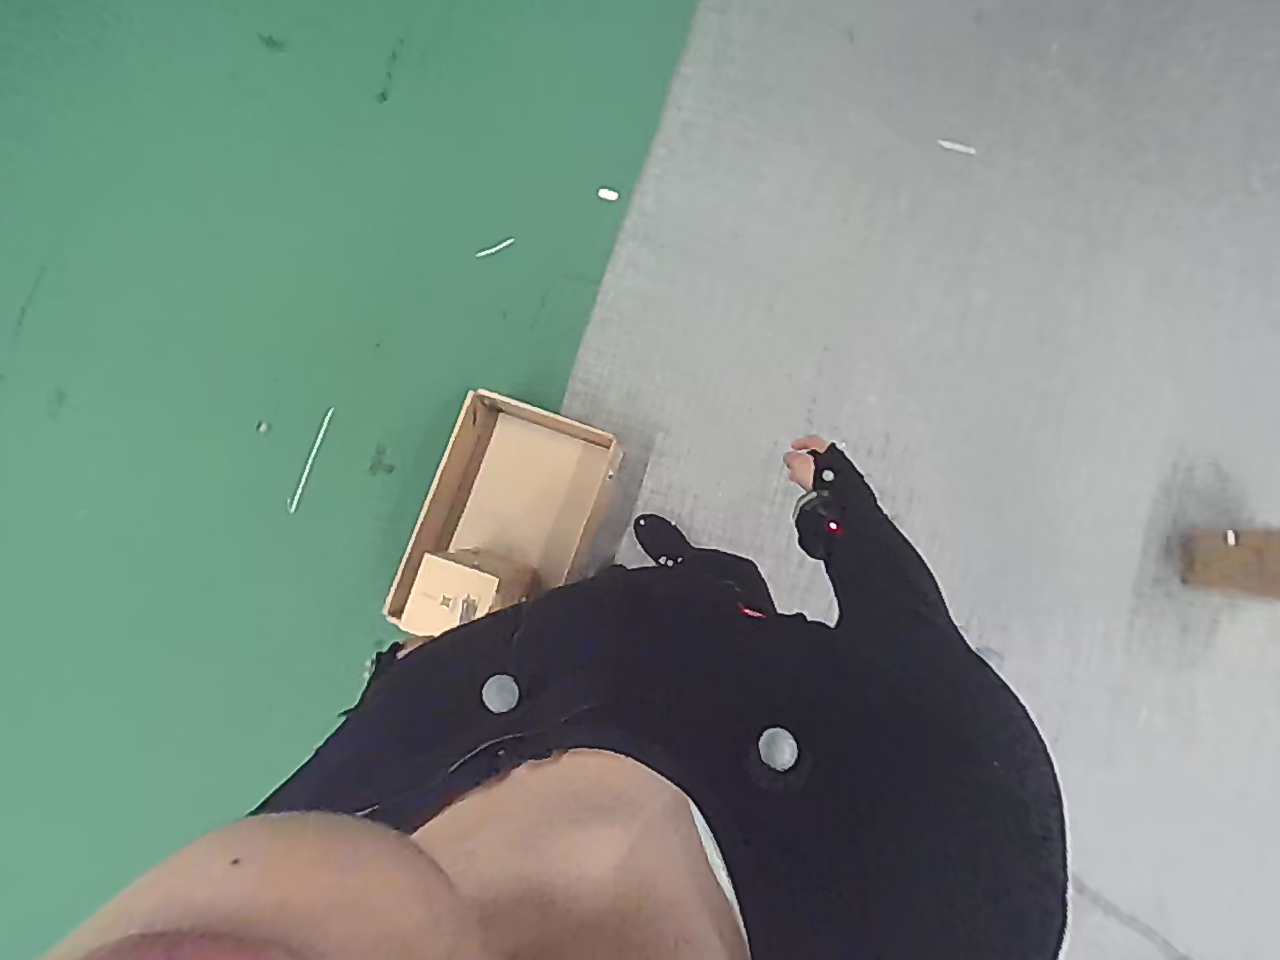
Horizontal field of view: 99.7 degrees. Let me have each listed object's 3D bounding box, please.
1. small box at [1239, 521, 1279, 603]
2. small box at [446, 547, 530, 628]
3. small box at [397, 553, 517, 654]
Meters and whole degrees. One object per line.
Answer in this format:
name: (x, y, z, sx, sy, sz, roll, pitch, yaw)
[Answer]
small box: (1.495, 0.190, 1.189, 0.168, 0.176, 0.179, 15, 85, 5)
small box: (-0.395, 0.272, 1.353, 0.179, 0.176, 0.168, 16, 84, 3)
small box: (-0.391, 0.262, 1.189, 0.179, 0.176, 0.168, 17, 83, 4)
